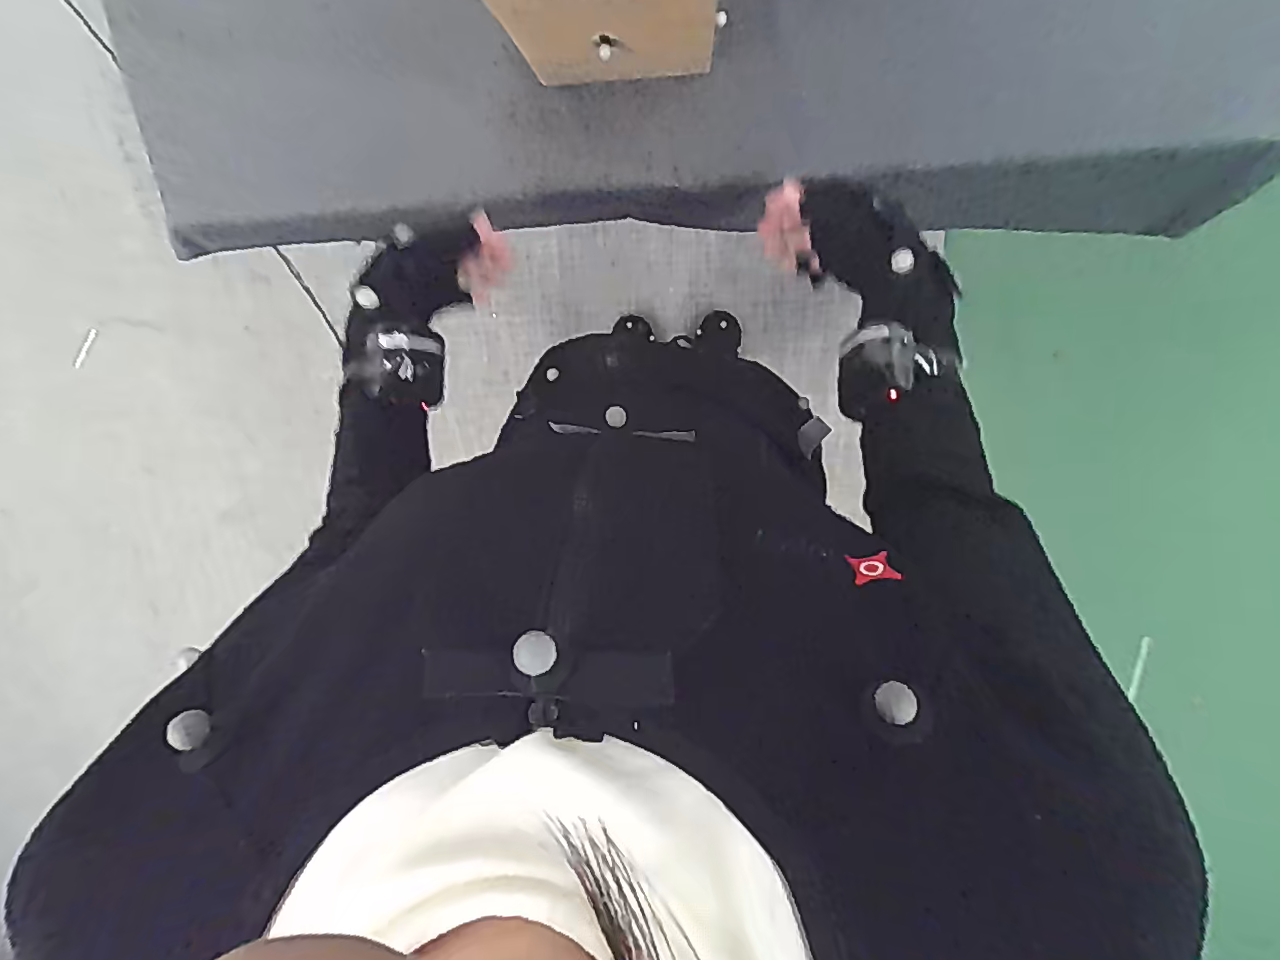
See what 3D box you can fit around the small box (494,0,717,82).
[{"bbox_3d":[-0.023,-0.472,0.463,0.179,0.176,0.168,0,108,6],"label":"small box"}]
